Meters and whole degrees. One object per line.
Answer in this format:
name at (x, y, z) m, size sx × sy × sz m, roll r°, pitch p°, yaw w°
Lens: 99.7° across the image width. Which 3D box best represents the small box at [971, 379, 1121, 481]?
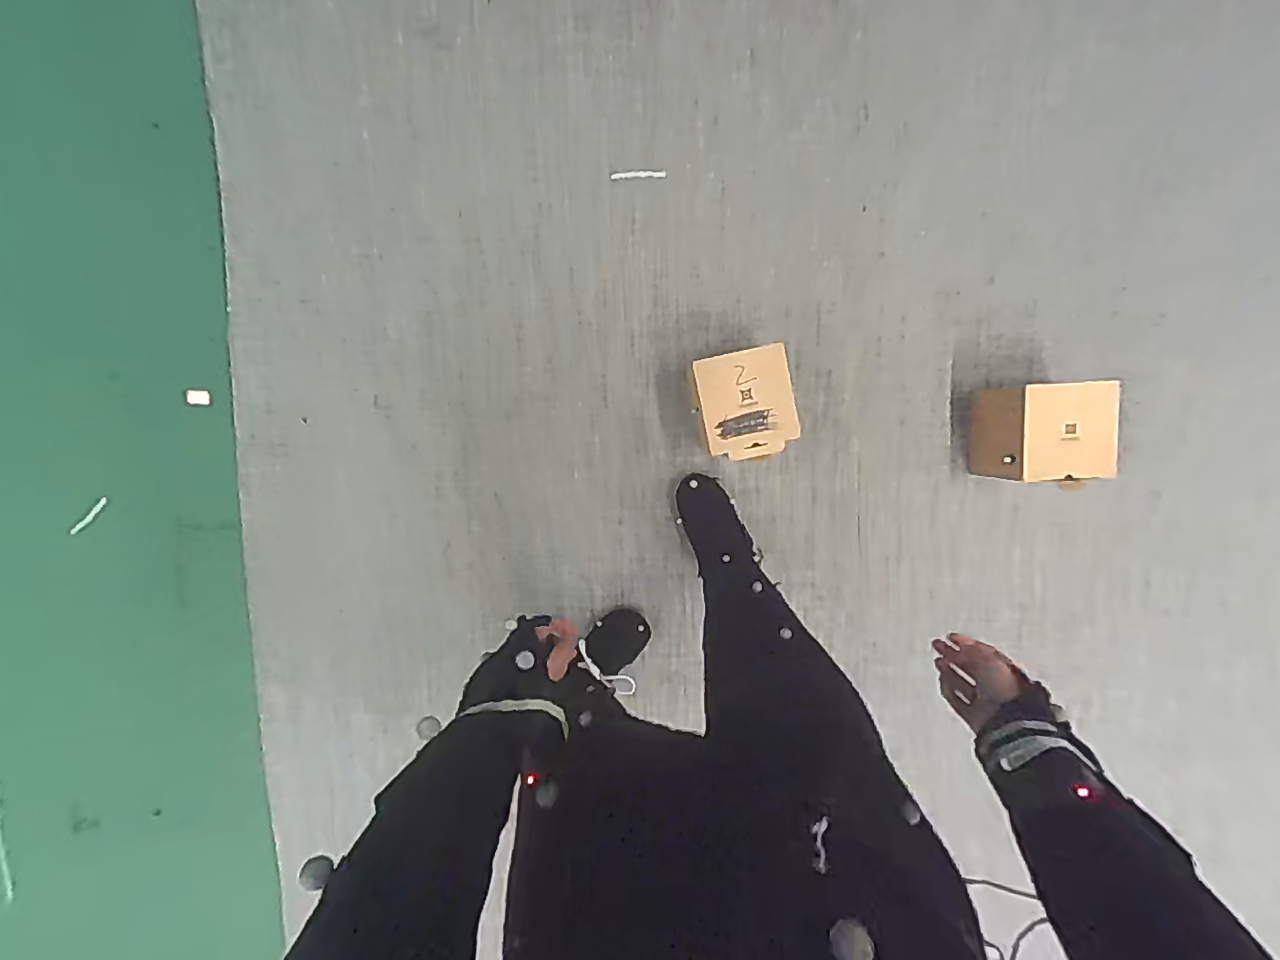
small box at (0.759, -0.095, 1.029) m, size 0.168 × 0.176 × 0.179 m, roll -2°, pitch 96°, yaw 1°
